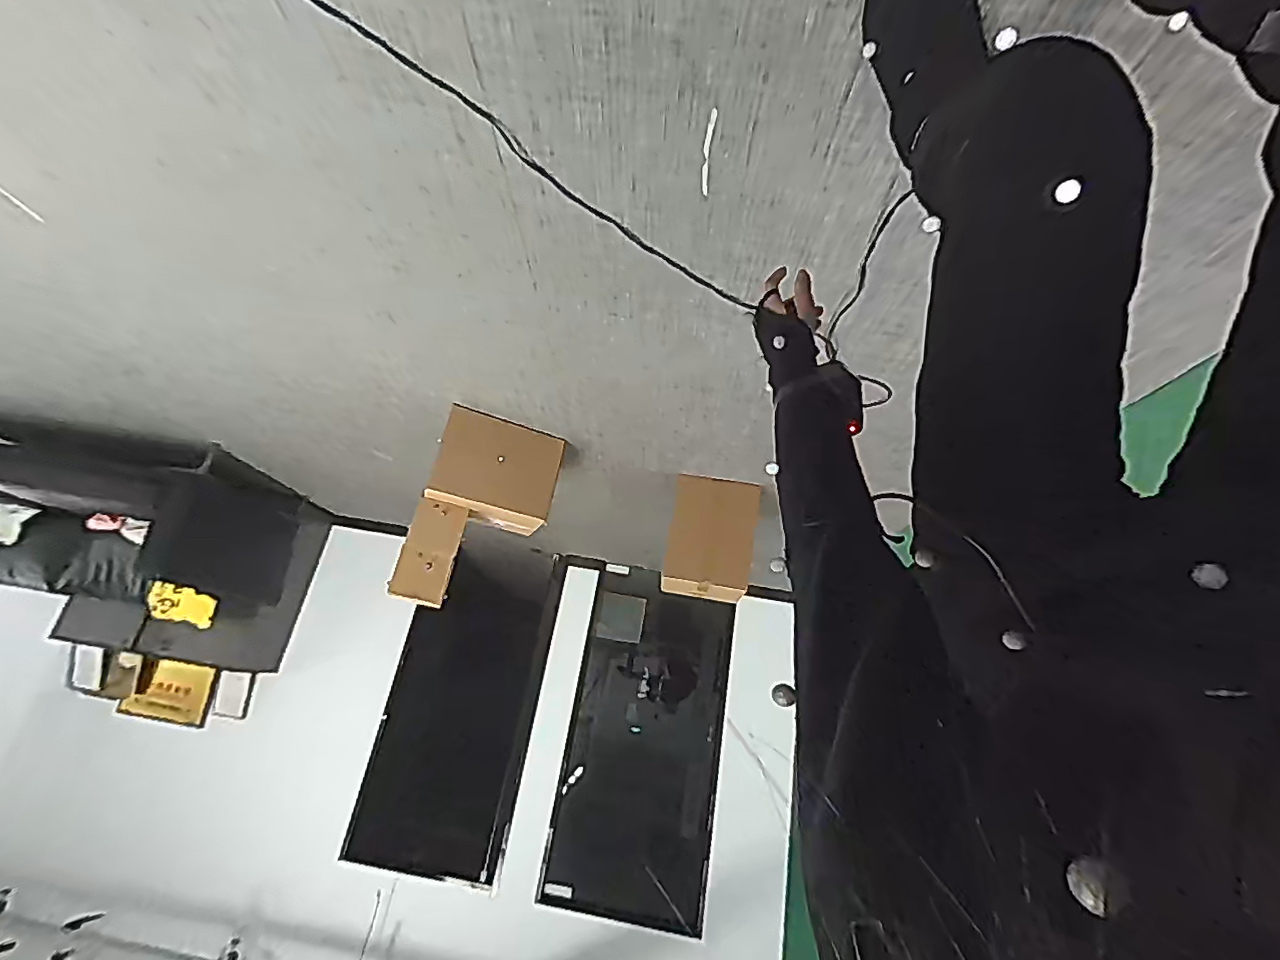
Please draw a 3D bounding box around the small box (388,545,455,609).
[{"bbox_3d":[-0.722,0.326,1.803,0.168,0.176,0.179,16,158,-14],"label":"small box"}]
